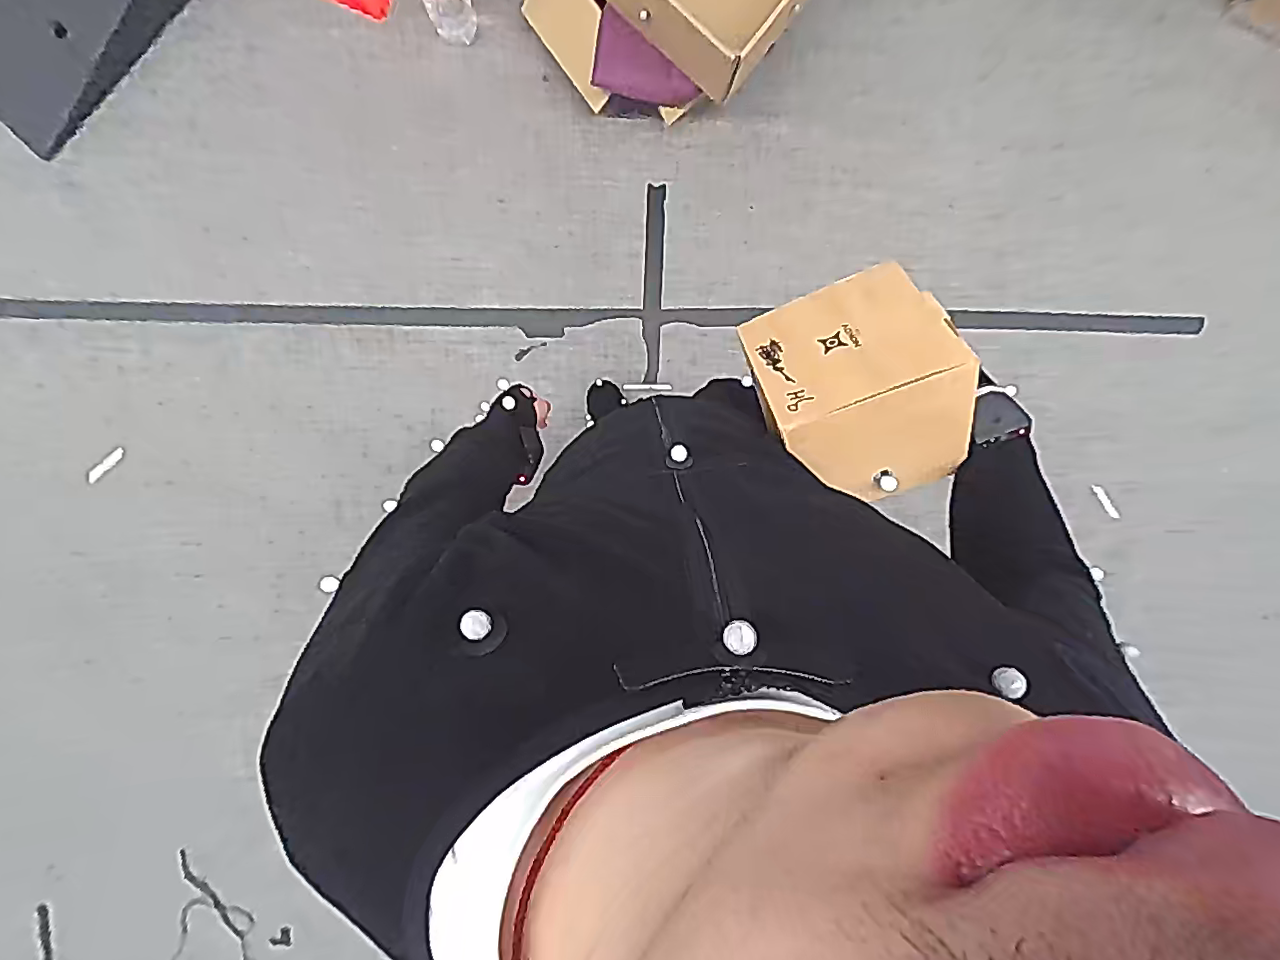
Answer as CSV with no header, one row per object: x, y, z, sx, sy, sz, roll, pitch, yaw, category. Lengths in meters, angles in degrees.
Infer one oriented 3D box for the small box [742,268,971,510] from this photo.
0.232,-0.093,0.603,0.179,0.168,0.176,-20,139,12,small box
